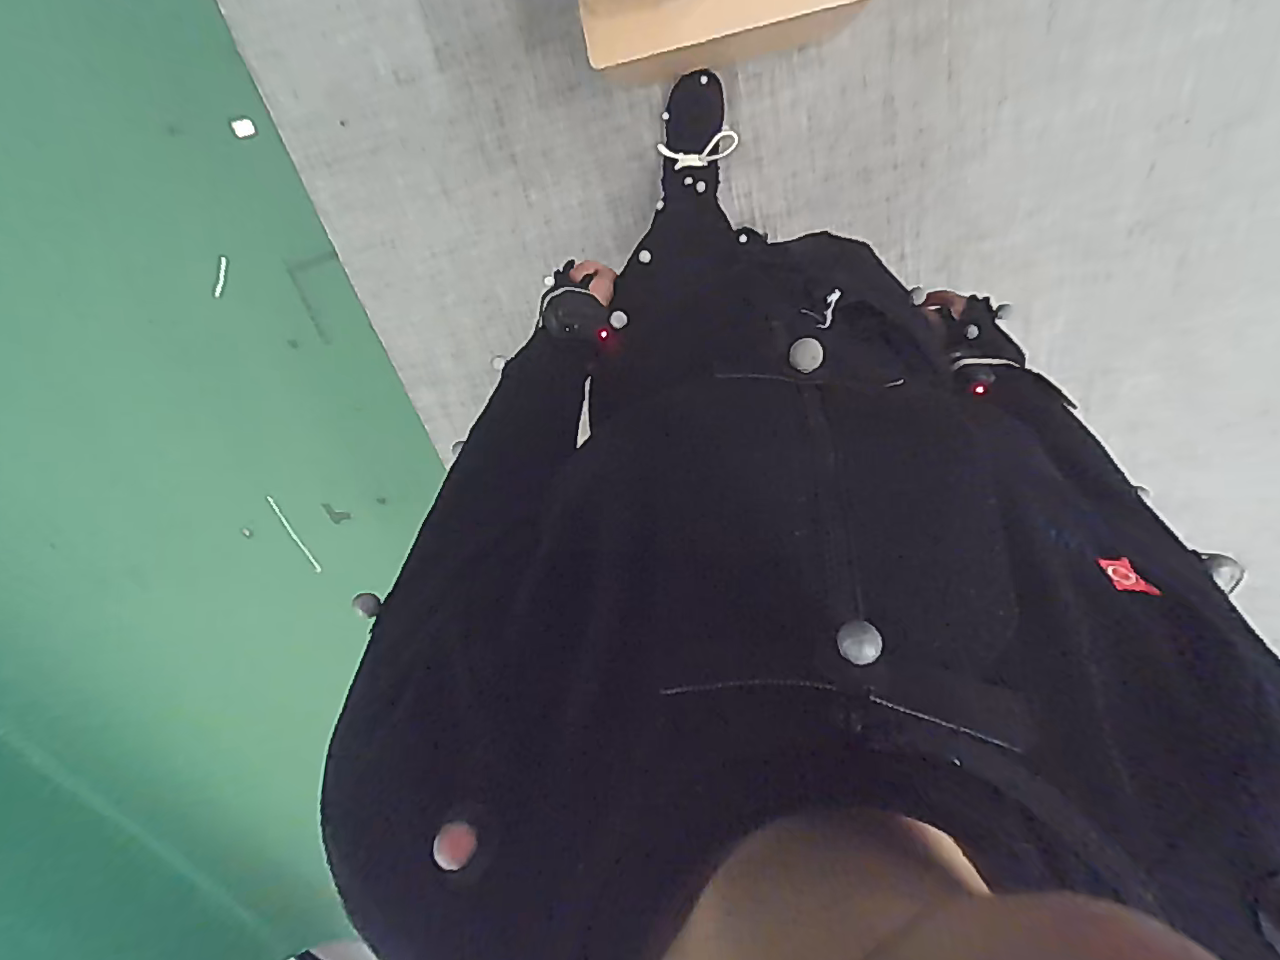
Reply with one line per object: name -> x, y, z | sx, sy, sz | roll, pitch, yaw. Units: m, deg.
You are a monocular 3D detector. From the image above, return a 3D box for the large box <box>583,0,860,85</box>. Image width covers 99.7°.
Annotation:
large box -> 0.112, -0.834, 0.801 | 0.408, 0.320, 0.320 | -7, 121, 11
